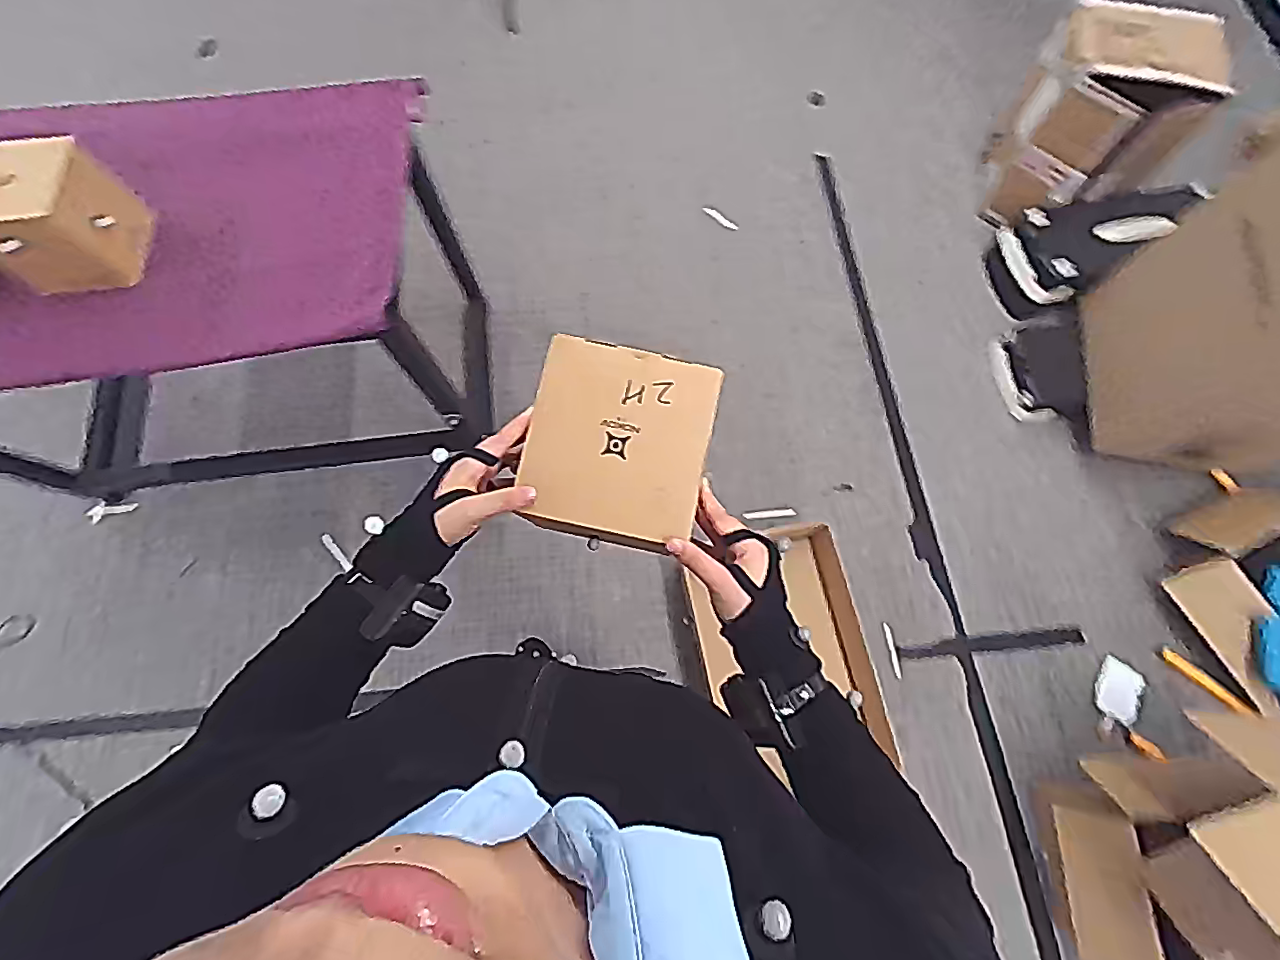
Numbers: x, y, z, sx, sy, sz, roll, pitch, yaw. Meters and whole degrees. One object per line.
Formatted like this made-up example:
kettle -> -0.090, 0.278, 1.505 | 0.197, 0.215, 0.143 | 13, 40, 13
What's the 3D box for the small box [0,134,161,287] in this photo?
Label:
small box -> -0.986, -0.454, 0.929 | 0.179, 0.176, 0.168 | -5, 72, -1
